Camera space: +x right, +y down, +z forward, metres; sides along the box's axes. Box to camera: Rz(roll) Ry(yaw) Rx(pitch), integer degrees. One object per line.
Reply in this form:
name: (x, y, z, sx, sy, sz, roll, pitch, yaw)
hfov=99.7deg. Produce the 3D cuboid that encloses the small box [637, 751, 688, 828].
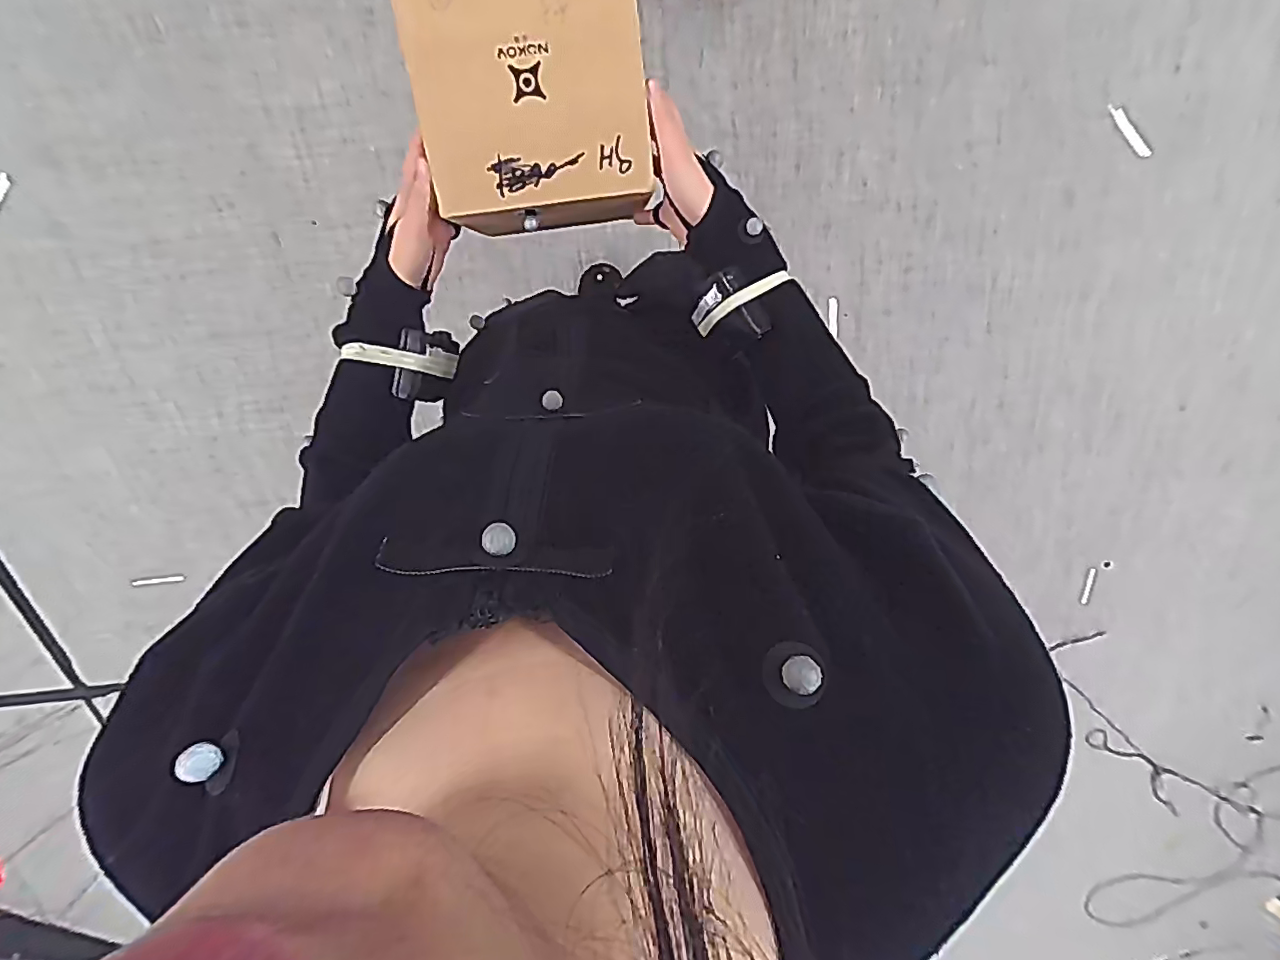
small box: (0.080, 1.124, 1.969, 0.168, 0.176, 0.179, -7, 113, 0)

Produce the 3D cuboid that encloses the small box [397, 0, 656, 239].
small box: (-0.084, -0.313, 0.454, 0.168, 0.176, 0.179, -8, 110, -2)
